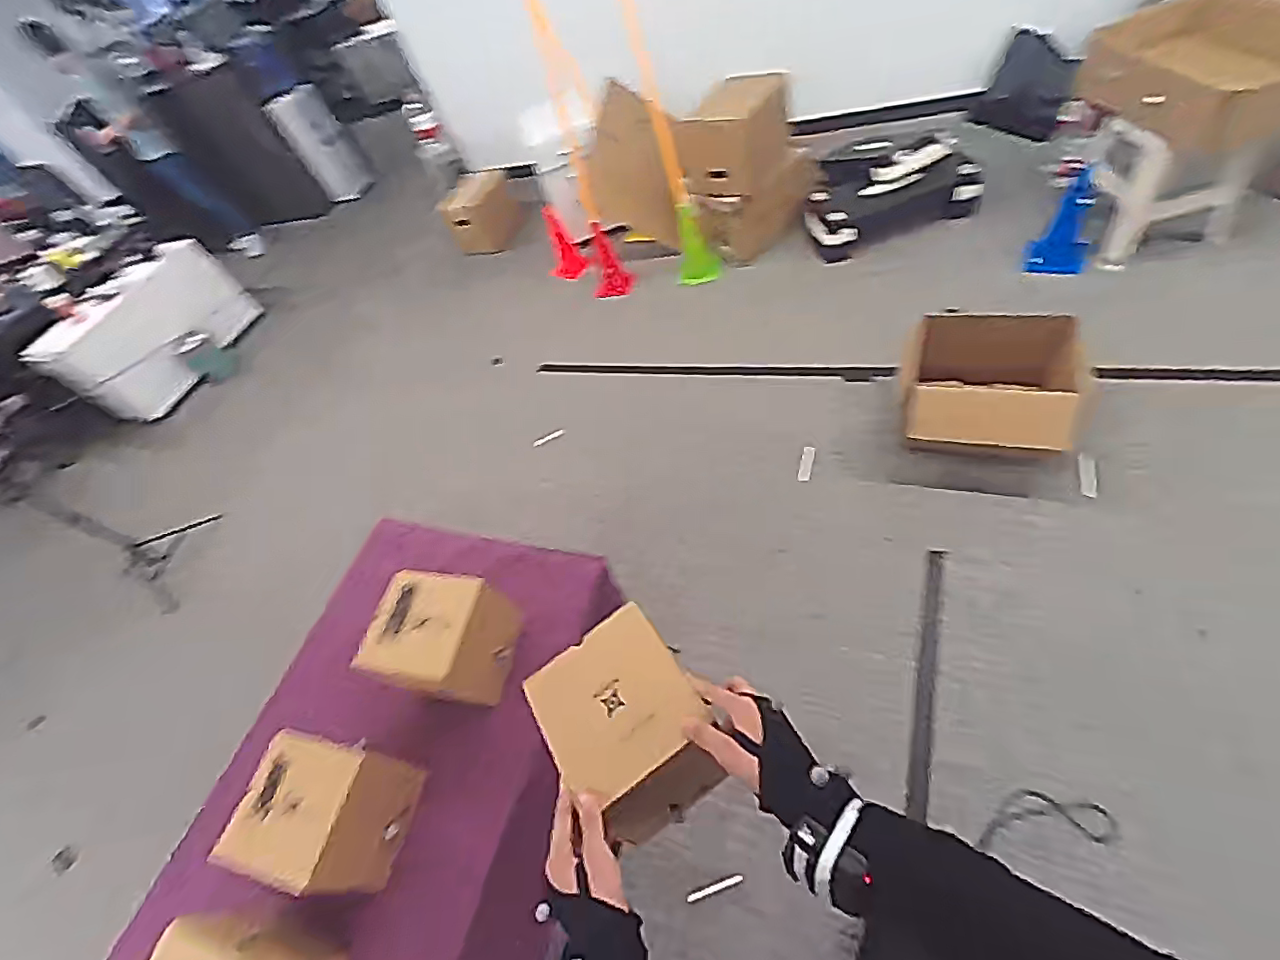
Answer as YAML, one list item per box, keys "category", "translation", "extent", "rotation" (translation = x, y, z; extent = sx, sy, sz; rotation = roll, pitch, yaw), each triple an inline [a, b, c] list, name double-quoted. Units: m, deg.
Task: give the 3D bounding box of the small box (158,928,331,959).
- category: "small box"
  translation: [-0.538, 0.719, 0.707]
  extent: [0.179, 0.176, 0.168]
  rotation: [4, 57, 22]

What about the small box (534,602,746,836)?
- category: "small box"
  translation: [0.003, 0.290, 0.657]
  extent: [0.168, 0.176, 0.179]
  rotation: [-35, 45, -6]

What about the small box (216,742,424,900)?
- category: "small box"
  translation: [-0.475, 0.520, 0.829]
  extent: [0.179, 0.176, 0.168]
  rotation: [1, 56, 20]
